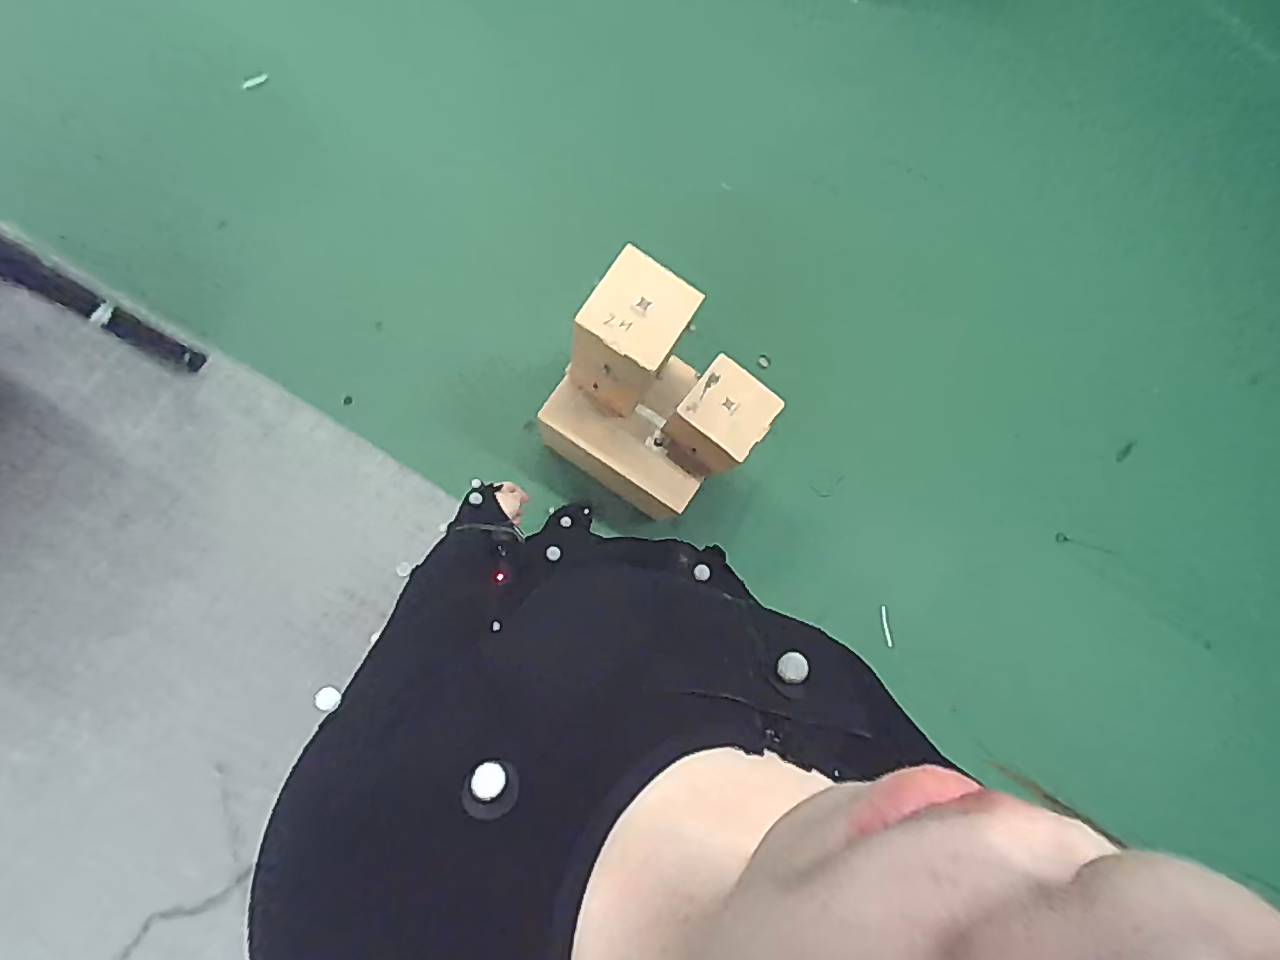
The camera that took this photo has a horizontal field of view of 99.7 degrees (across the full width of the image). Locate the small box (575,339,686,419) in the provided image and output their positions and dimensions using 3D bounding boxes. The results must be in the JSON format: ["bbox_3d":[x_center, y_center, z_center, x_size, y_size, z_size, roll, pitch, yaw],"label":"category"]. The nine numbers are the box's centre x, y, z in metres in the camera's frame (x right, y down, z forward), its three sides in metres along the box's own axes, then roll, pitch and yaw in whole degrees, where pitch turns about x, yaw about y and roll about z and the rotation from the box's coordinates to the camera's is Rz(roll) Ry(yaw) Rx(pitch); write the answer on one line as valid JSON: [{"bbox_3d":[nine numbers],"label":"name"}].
[{"bbox_3d":[-0.031,-0.260,1.164,0.168,0.176,0.179,35,79,-3],"label":"small box"}]

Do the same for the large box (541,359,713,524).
[{"bbox_3d":[-0.004,-0.126,1.397,0.408,0.320,0.320,35,80,-3],"label":"large box"}]

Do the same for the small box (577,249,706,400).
[{"bbox_3d":[-0.007,-0.278,1.002,0.168,0.176,0.179,34,79,-2],"label":"small box"}]

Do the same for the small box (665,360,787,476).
[{"bbox_3d":[0.178,-0.123,1.171,0.179,0.176,0.168,39,78,-1],"label":"small box"}]
